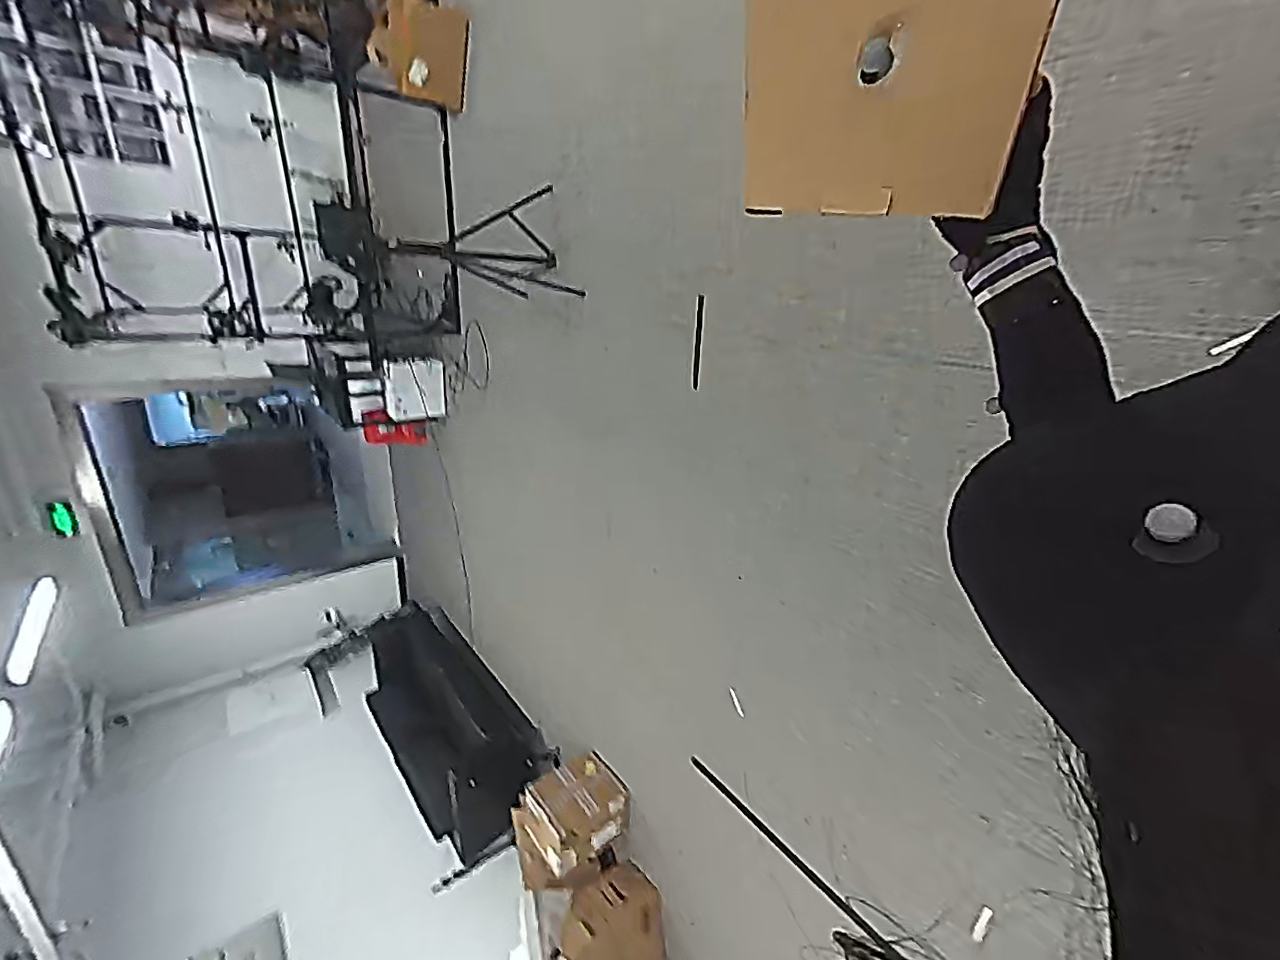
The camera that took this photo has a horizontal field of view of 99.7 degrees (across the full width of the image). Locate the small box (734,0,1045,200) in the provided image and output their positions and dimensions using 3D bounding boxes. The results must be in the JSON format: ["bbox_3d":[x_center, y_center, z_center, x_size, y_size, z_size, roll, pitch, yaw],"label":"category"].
[{"bbox_3d":[0.165,-0.302,0.353,0.168,0.179,0.176,16,140,24],"label":"small box"}]
